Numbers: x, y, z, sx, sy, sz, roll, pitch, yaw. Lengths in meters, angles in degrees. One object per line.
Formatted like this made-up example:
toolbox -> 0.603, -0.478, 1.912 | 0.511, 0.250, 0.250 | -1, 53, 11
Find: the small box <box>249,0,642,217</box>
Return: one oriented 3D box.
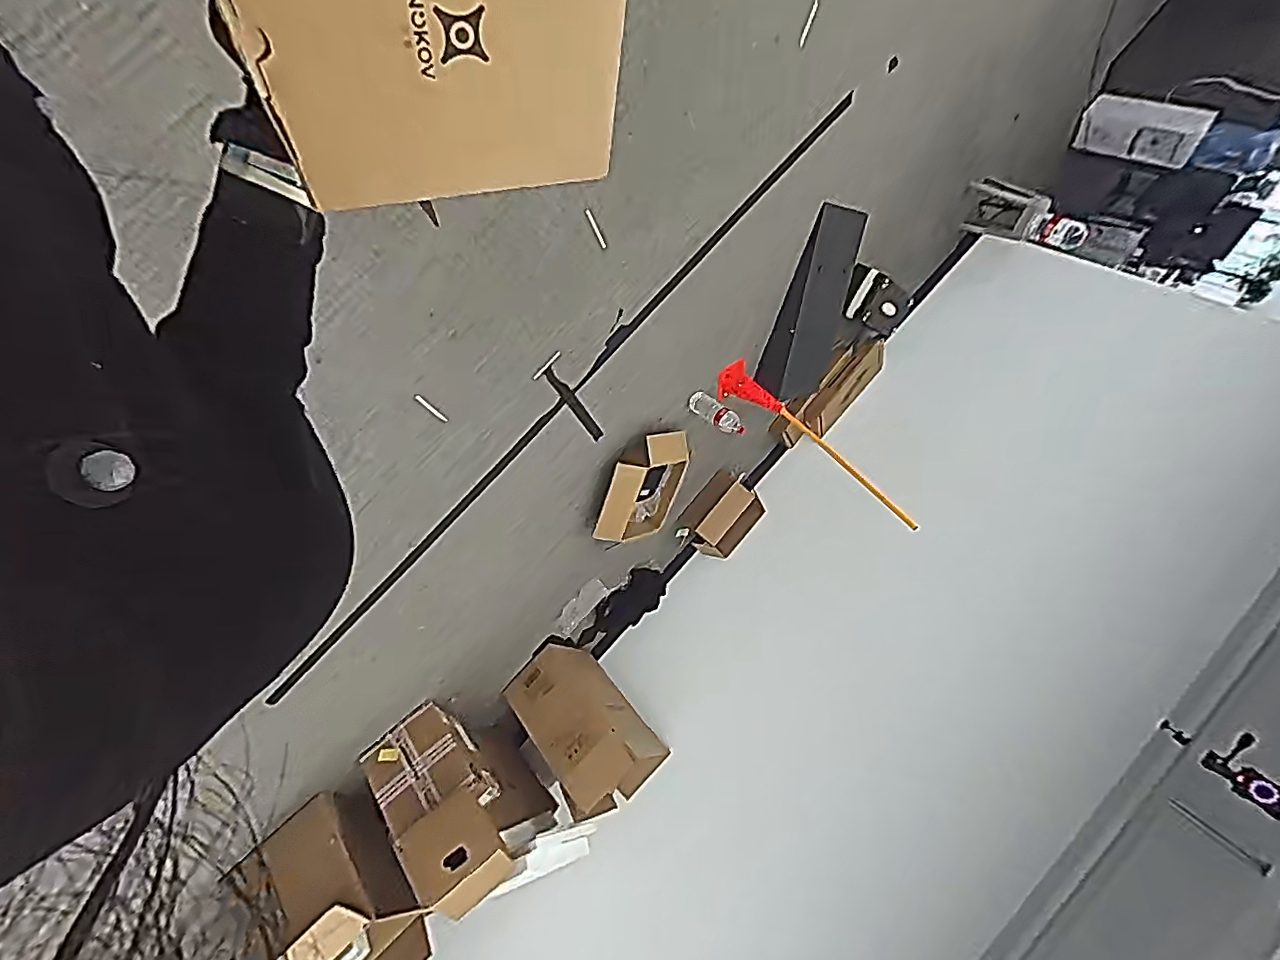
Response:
small box -> -0.111, -0.275, 0.284 | 0.179, 0.176, 0.168 | -17, 159, -18
